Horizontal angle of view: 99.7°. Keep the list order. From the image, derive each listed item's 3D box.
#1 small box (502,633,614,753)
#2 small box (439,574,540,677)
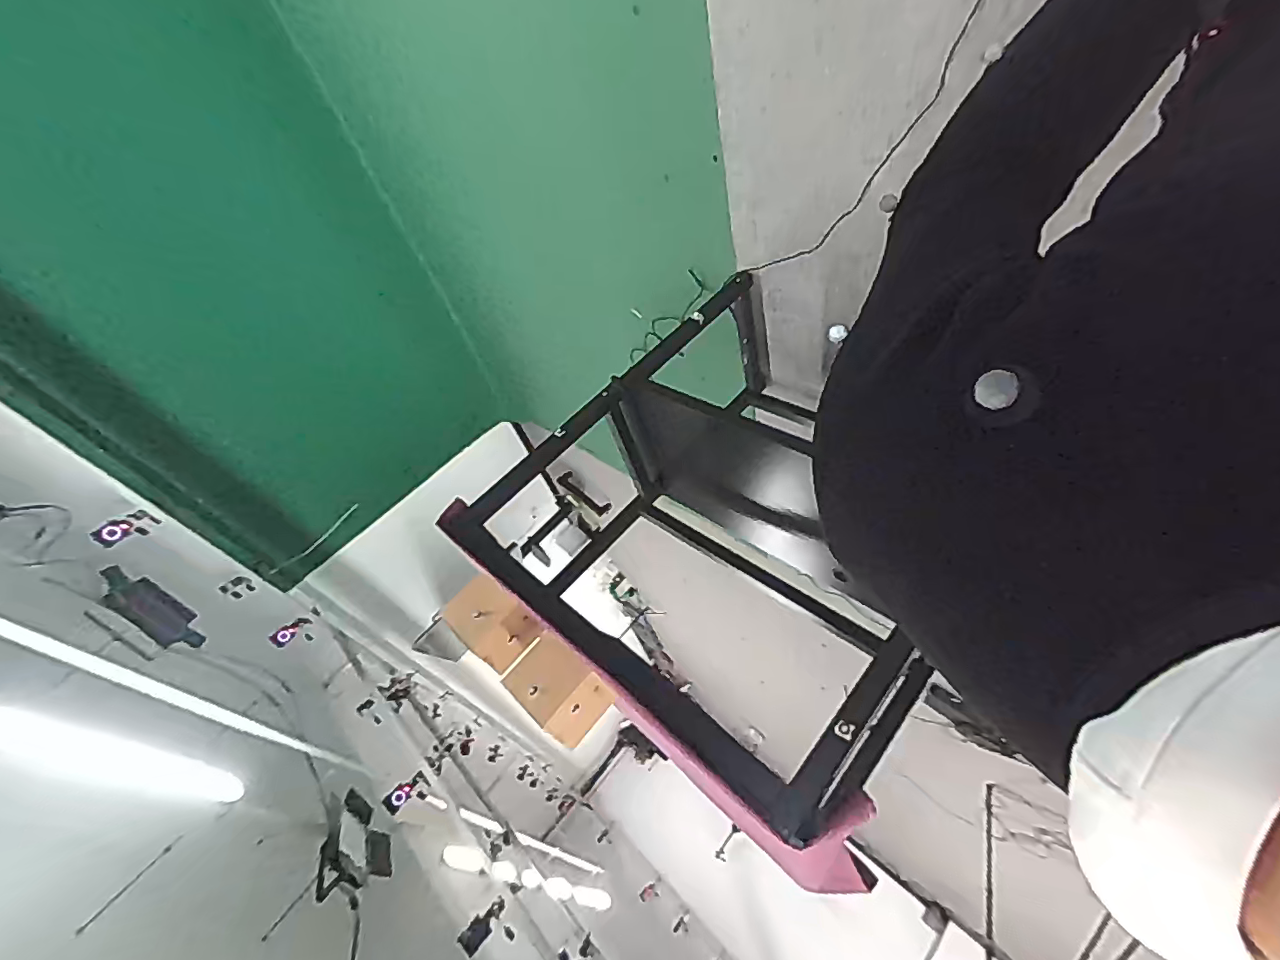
[{"bbox_3d":[-0.183,0.496,1.275,0.179,0.176,0.168,27,153,39],"label":"small box"},{"bbox_3d":[-0.389,0.381,1.440,0.179,0.176,0.168,26,151,36],"label":"small box"}]
